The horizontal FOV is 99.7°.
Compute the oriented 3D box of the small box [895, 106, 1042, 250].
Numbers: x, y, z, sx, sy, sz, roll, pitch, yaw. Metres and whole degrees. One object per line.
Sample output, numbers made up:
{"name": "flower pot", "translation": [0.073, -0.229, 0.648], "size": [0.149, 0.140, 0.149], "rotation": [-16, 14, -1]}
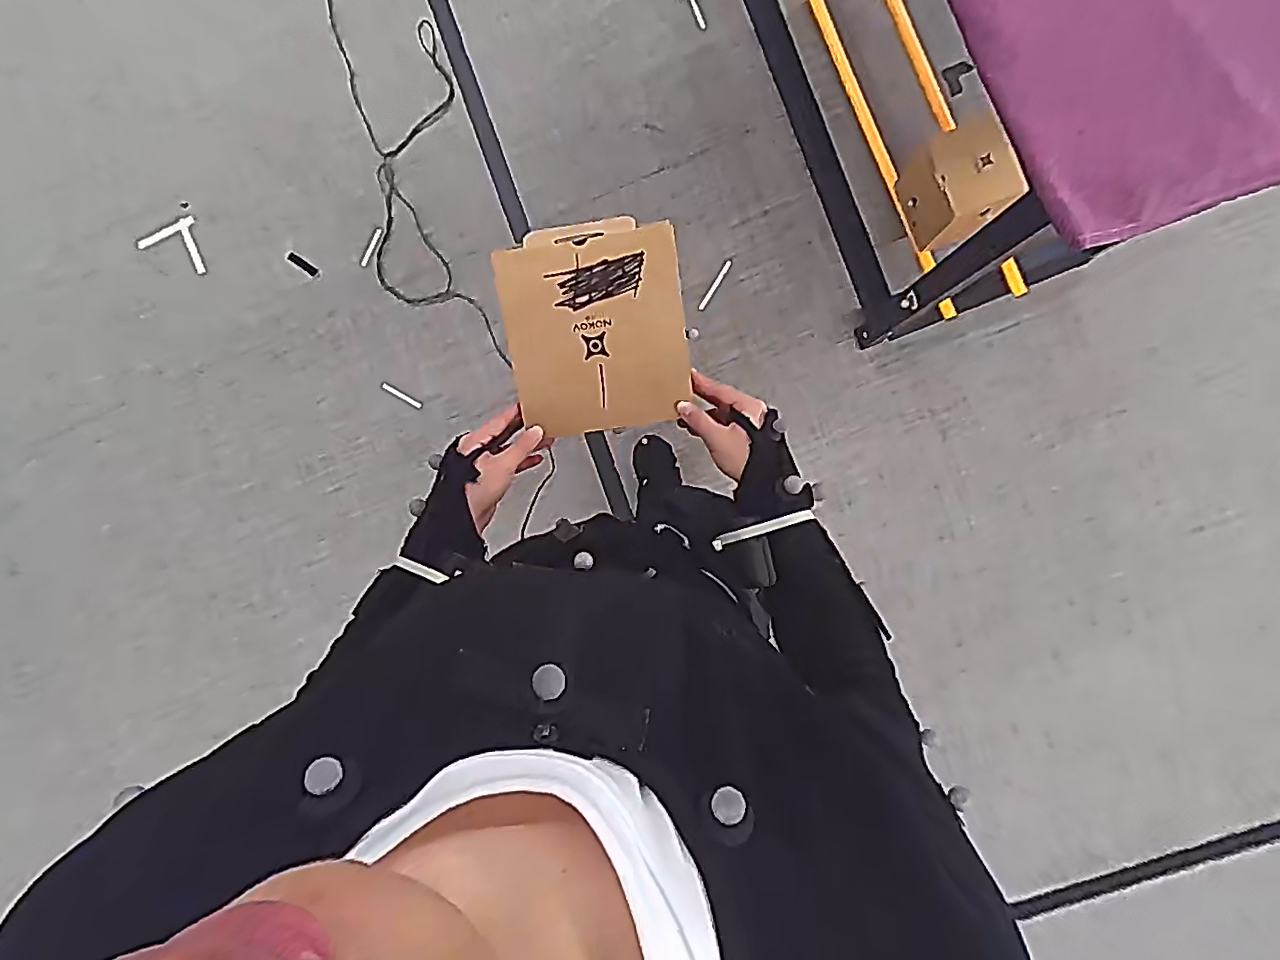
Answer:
{"name": "small box", "translation": [0.665, -0.610, 1.116], "size": [0.179, 0.176, 0.168], "rotation": [-21, 88, 6]}

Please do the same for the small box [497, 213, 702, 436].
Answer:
{"name": "small box", "translation": [-0.031, -0.150, 0.564], "size": [0.168, 0.176, 0.179], "rotation": [-8, 101, 6]}
